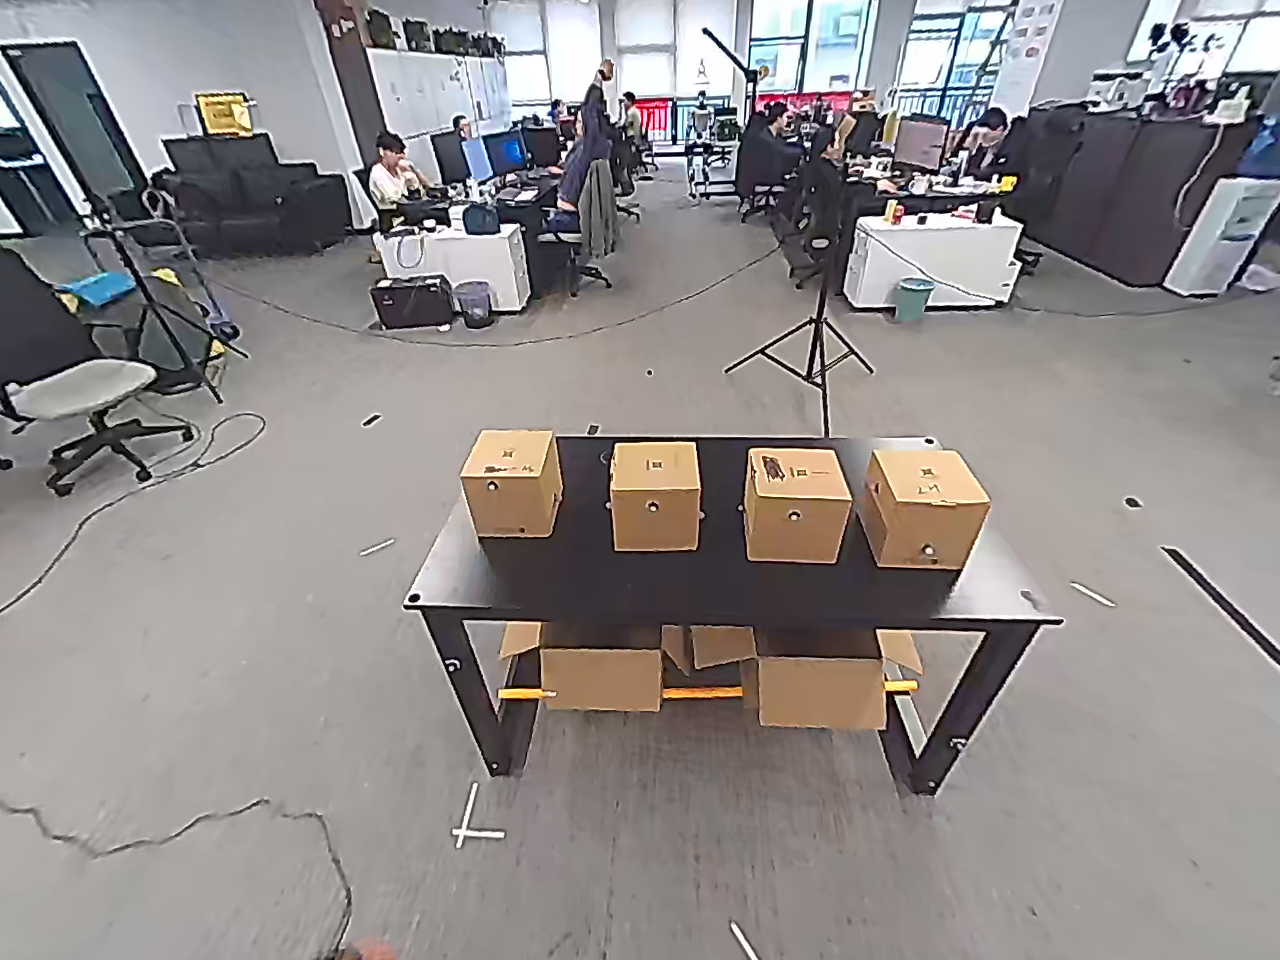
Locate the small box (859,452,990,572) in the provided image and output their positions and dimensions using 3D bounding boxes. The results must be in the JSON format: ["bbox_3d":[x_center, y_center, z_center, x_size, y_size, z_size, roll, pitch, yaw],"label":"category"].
[{"bbox_3d":[0.553,0.061,1.081,0.168,0.176,0.179,1,36,6],"label":"small box"}]

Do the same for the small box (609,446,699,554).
[{"bbox_3d":[0.032,0.042,1.145,0.179,0.176,0.168,-1,37,1],"label":"small box"}]

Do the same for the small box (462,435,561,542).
[{"bbox_3d":[-0.274,0.016,1.196,0.168,0.176,0.179,0,36,3],"label":"small box"}]

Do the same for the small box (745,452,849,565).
[{"bbox_3d":[0.308,0.058,1.102,0.179,0.176,0.168,2,36,6],"label":"small box"}]
